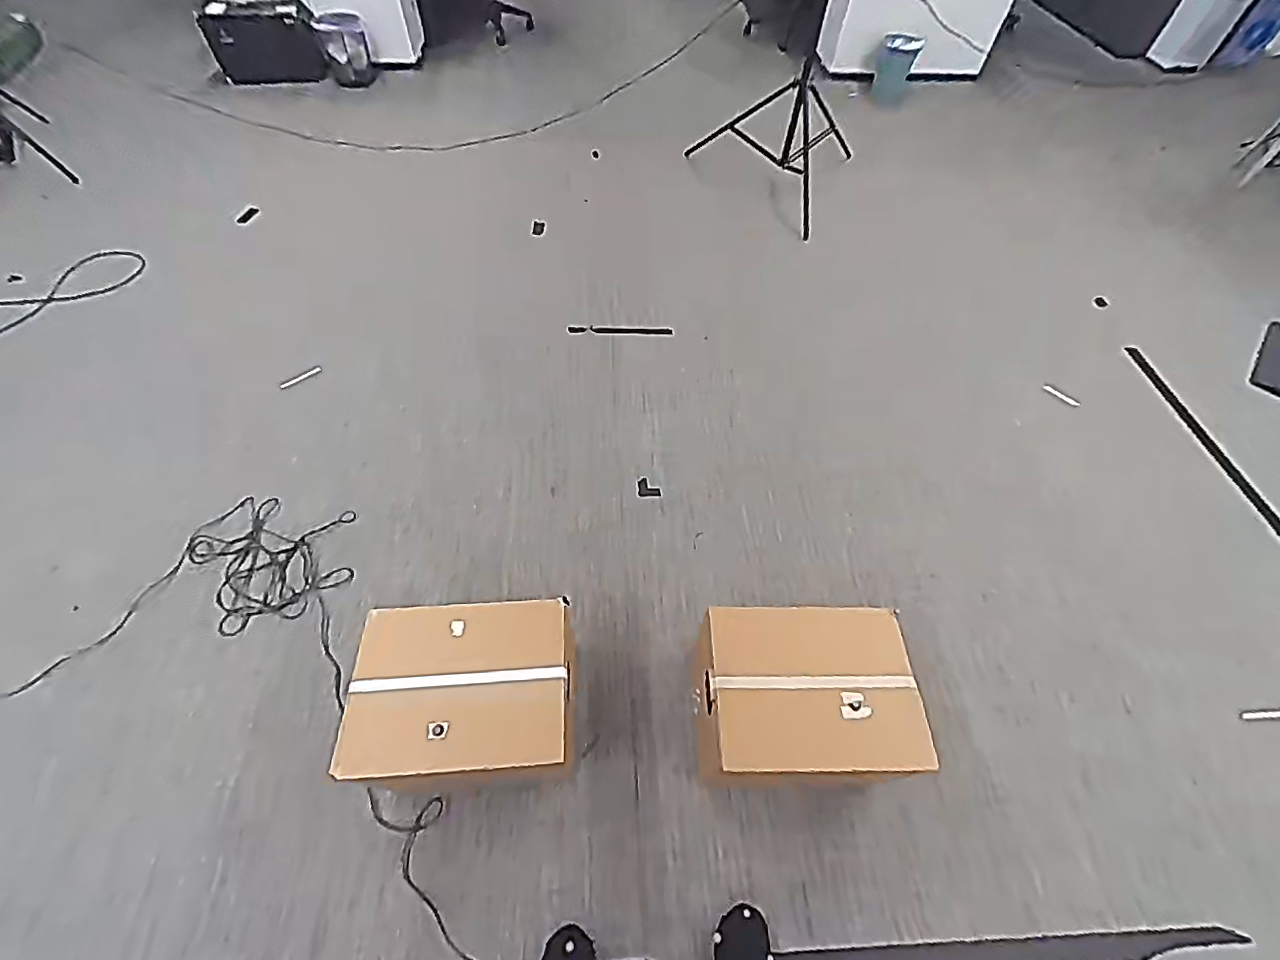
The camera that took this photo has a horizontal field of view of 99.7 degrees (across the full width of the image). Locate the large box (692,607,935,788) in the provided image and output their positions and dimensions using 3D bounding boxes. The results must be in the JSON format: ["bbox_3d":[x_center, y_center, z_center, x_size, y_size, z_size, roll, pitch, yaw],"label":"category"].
[{"bbox_3d":[0.342,0.488,1.201,0.408,0.320,0.320,1,56,-3],"label":"large box"}]
